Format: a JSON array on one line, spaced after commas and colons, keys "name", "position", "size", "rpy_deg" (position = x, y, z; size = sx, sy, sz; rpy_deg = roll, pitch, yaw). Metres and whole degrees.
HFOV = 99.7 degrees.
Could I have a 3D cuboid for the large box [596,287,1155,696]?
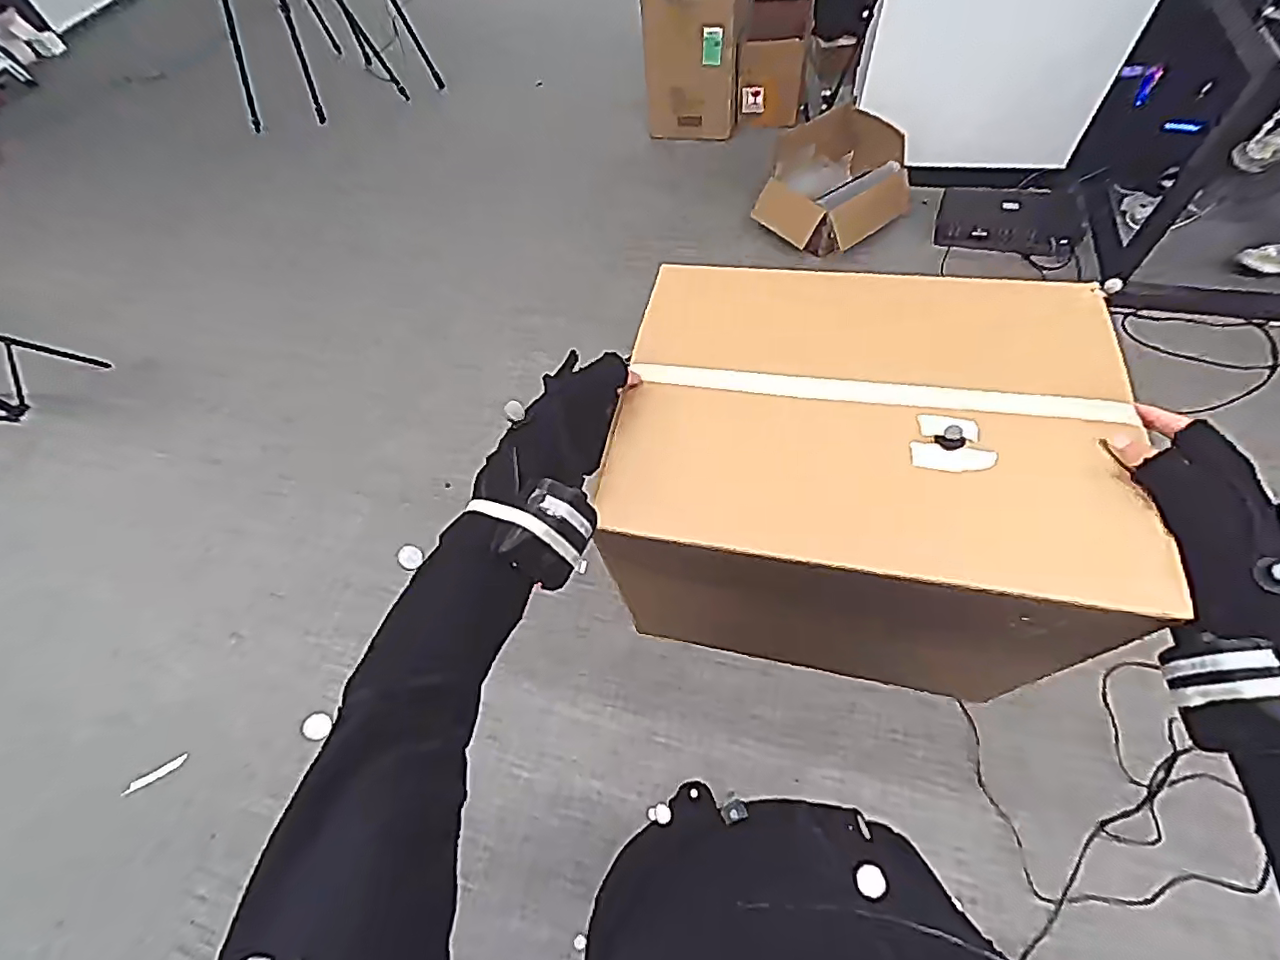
[{"name": "large box", "position": [0.200, 0.017, 0.600], "size": [0.408, 0.320, 0.320], "rpy_deg": [8, 60, 12]}]
